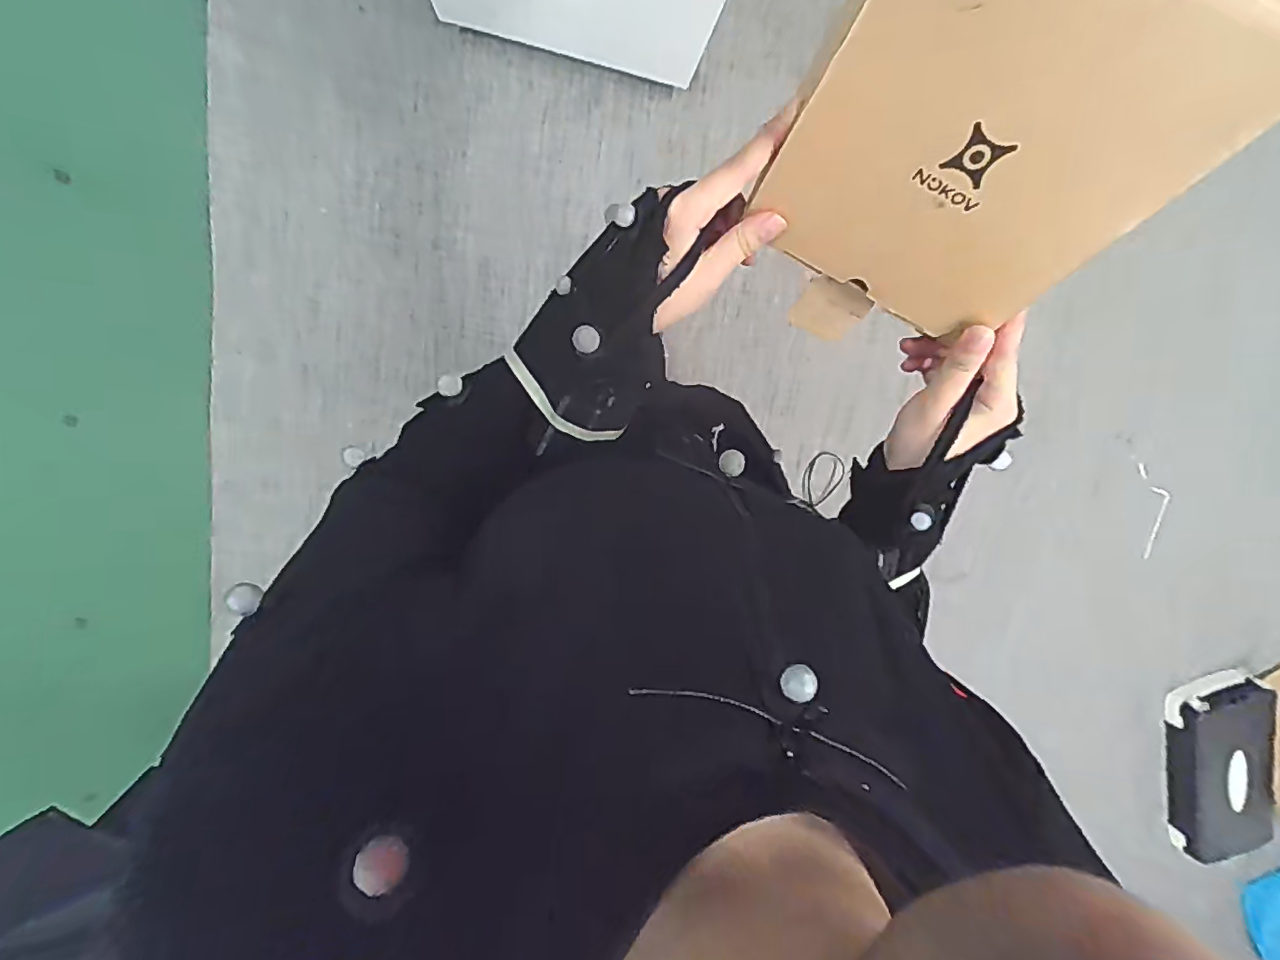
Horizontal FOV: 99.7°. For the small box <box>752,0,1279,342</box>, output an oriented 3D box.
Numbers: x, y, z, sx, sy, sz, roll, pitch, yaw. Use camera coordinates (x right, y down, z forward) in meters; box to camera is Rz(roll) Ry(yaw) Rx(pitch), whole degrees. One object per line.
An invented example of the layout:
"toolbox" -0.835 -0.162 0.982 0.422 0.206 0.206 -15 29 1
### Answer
"small box" 0.187 -0.219 0.295 0.168 0.179 0.176 26 61 -6
